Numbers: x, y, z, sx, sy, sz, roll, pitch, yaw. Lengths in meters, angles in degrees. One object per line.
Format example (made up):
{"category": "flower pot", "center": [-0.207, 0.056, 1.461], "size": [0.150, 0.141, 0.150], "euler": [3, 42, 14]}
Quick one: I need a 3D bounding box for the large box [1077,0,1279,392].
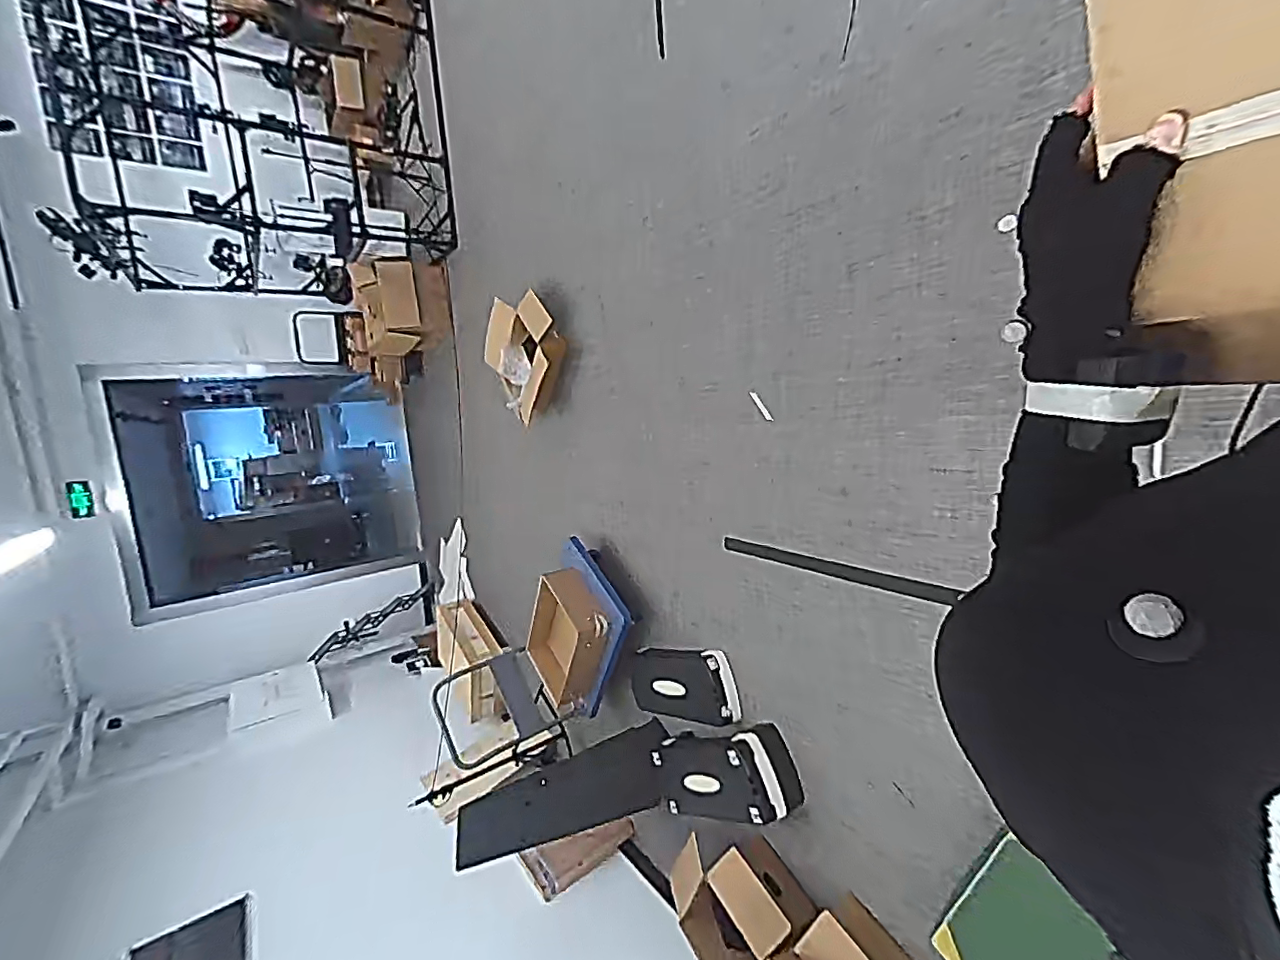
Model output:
{"category": "large box", "center": [0.507, -0.257, 0.243], "size": [0.408, 0.320, 0.320], "euler": [10, 134, 56]}
